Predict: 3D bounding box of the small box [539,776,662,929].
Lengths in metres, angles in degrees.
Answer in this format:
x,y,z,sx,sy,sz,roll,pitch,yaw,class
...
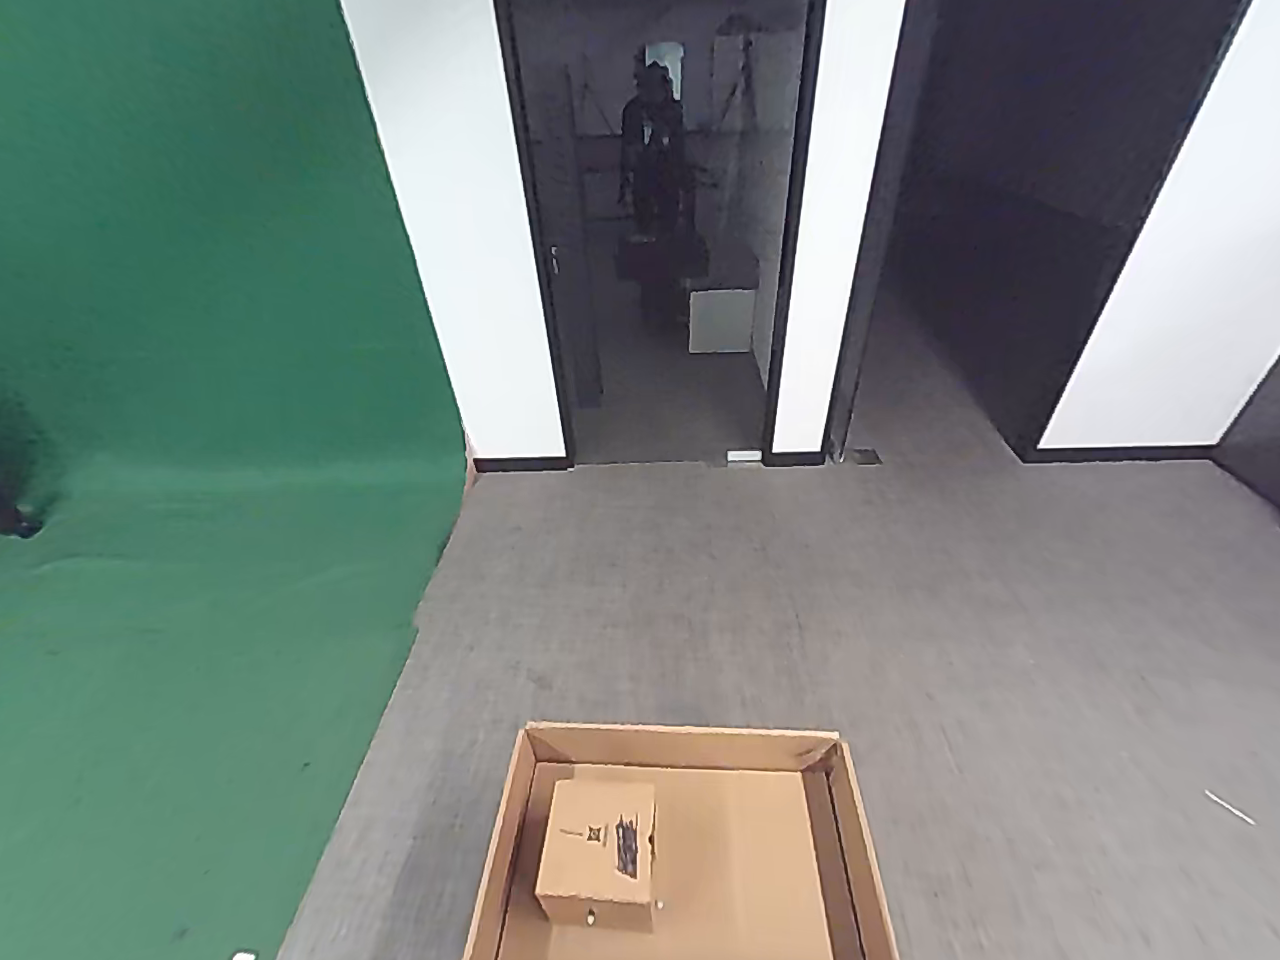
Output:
x,y,z,sx,sy,sz,roll,pitch,yaw,class
-0.055,0.624,0.907,0.179,0.176,0.168,1,38,6,small box
